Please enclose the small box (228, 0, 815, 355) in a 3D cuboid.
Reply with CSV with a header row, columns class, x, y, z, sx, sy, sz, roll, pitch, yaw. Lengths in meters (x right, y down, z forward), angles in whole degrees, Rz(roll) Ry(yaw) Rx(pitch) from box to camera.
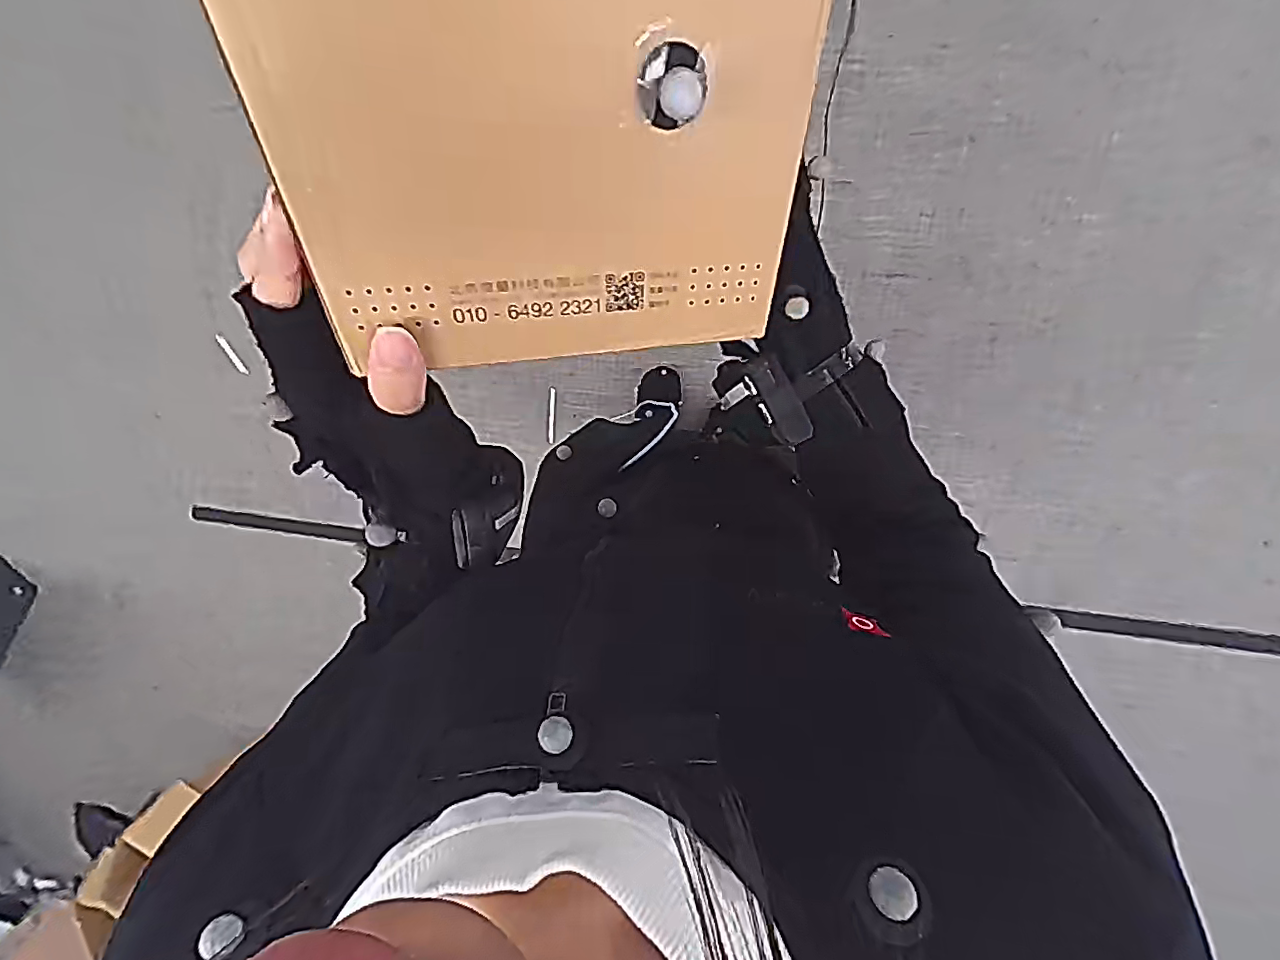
class,x,y,z,sx,sy,sz,roll,pitch,yaw
small box,-0.038,-0.164,0.224,0.168,0.179,0.176,-6,135,-8
